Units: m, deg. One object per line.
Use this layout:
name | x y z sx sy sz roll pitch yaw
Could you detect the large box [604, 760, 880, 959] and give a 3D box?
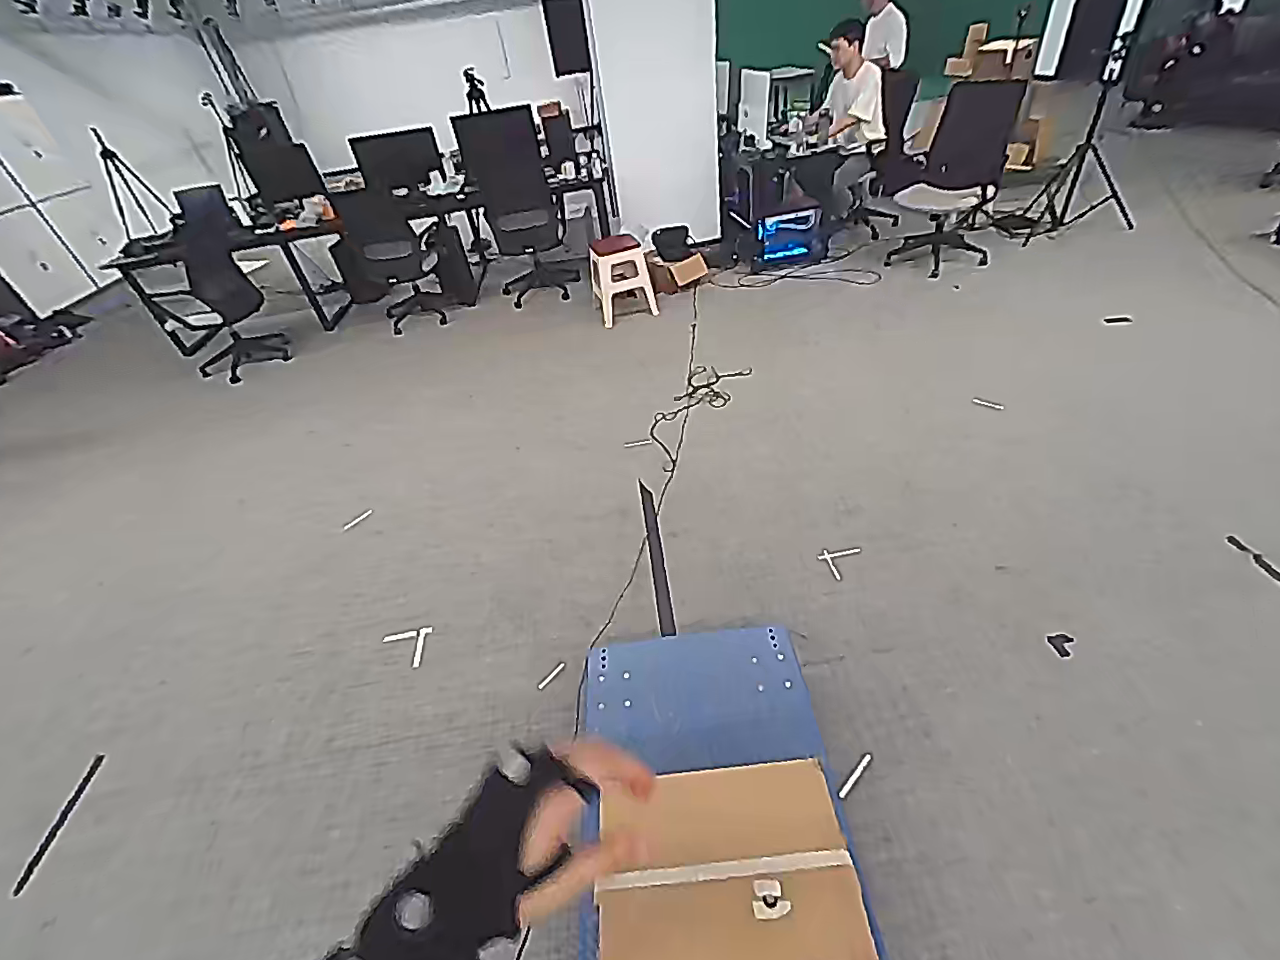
large box | 0.157 0.753 0.974 0.408 0.320 0.320 -8 39 2
